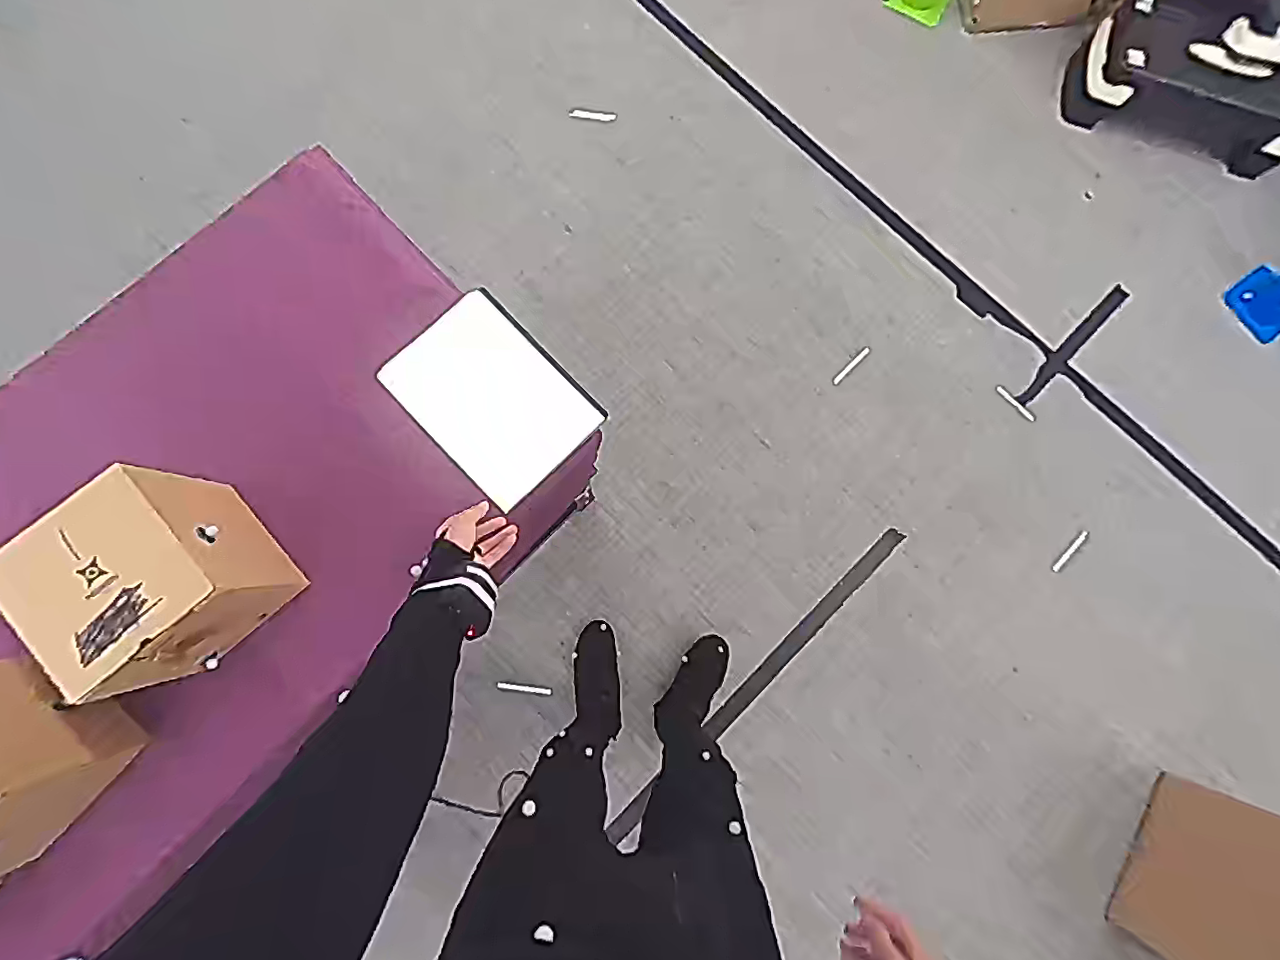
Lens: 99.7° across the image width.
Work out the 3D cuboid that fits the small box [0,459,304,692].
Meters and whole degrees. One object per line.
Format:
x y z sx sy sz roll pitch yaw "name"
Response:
-0.538 0.103 0.618 0.168 0.176 0.179 -41 84 -8 "small box"
